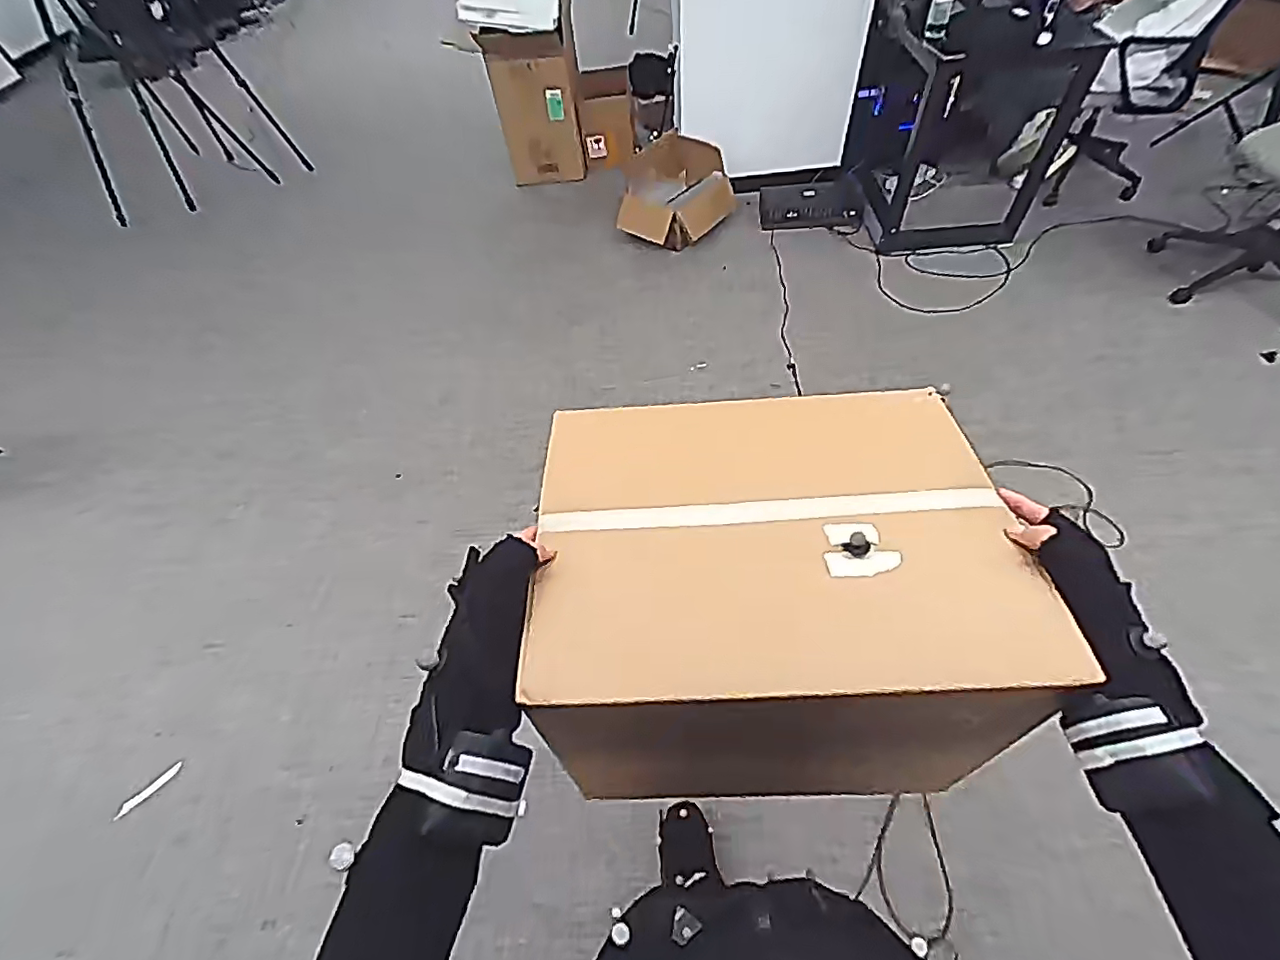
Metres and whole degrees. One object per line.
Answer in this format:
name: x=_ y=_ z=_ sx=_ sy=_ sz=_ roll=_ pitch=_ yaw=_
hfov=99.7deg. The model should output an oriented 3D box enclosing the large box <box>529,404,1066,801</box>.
large box: x=0.118 y=0.142 z=0.604 sx=0.408 sy=0.320 sz=0.320 roll=-3 pitch=48 yaw=2
